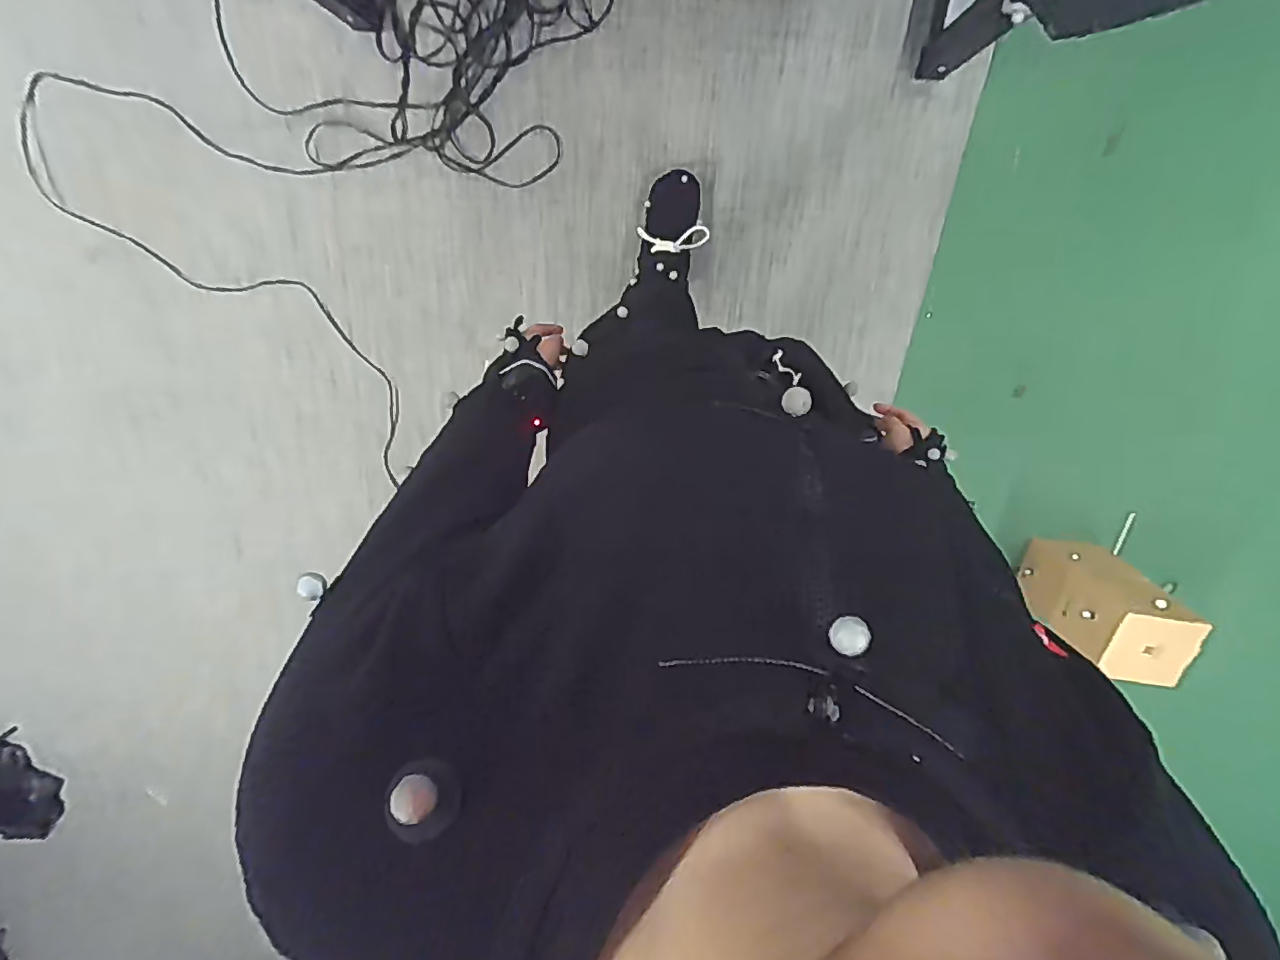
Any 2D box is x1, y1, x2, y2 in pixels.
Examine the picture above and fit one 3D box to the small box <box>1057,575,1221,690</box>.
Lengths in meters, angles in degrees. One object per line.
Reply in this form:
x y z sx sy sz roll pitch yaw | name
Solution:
1.075 0.327 1.188 0.179 0.176 0.168 8 112 1 | small box
